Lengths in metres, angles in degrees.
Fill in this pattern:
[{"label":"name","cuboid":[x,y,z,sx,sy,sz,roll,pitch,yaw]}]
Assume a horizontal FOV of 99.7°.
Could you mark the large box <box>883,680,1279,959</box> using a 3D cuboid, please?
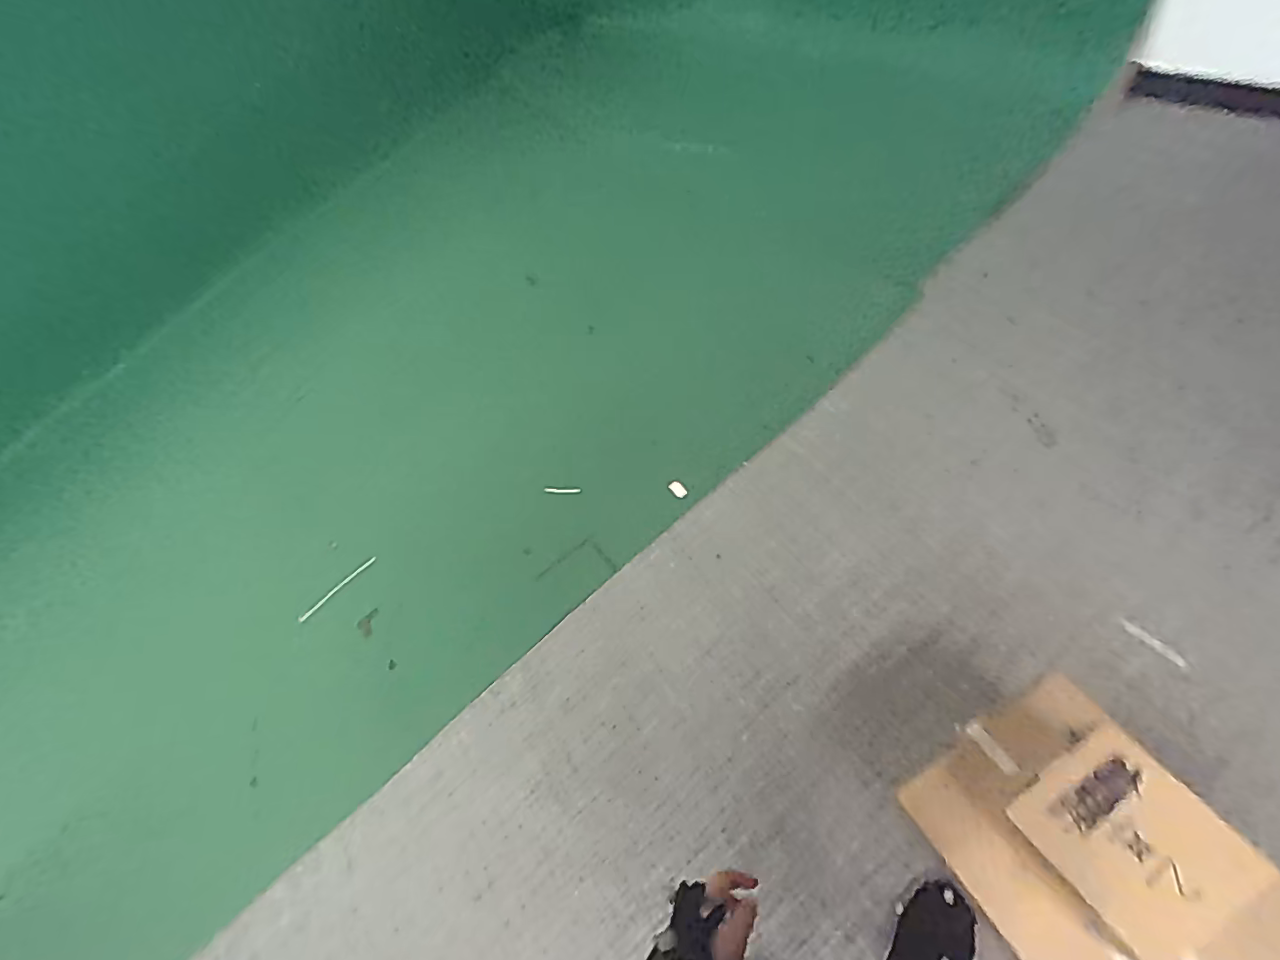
[{"label":"large box","cuboid":[0.645,0.583,0.822,0.320,0.320,0.408,-36,57,-1]}]
